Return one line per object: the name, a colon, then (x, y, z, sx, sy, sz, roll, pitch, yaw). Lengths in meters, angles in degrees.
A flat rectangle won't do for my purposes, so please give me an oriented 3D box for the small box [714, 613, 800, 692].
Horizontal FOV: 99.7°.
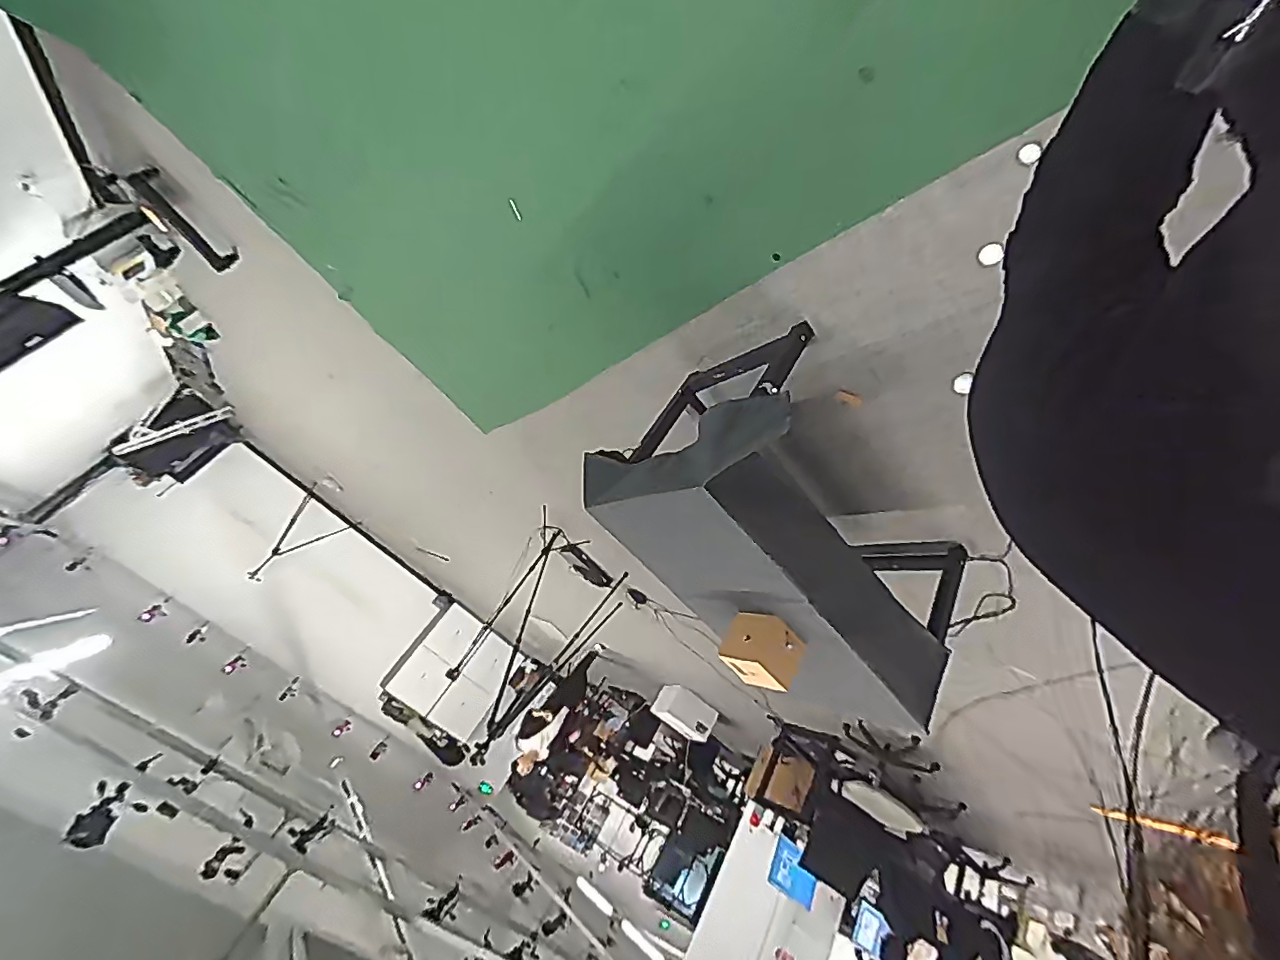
small box: (0.375, 0.542, 1.720, 0.168, 0.176, 0.179, 47, 149, -21)
